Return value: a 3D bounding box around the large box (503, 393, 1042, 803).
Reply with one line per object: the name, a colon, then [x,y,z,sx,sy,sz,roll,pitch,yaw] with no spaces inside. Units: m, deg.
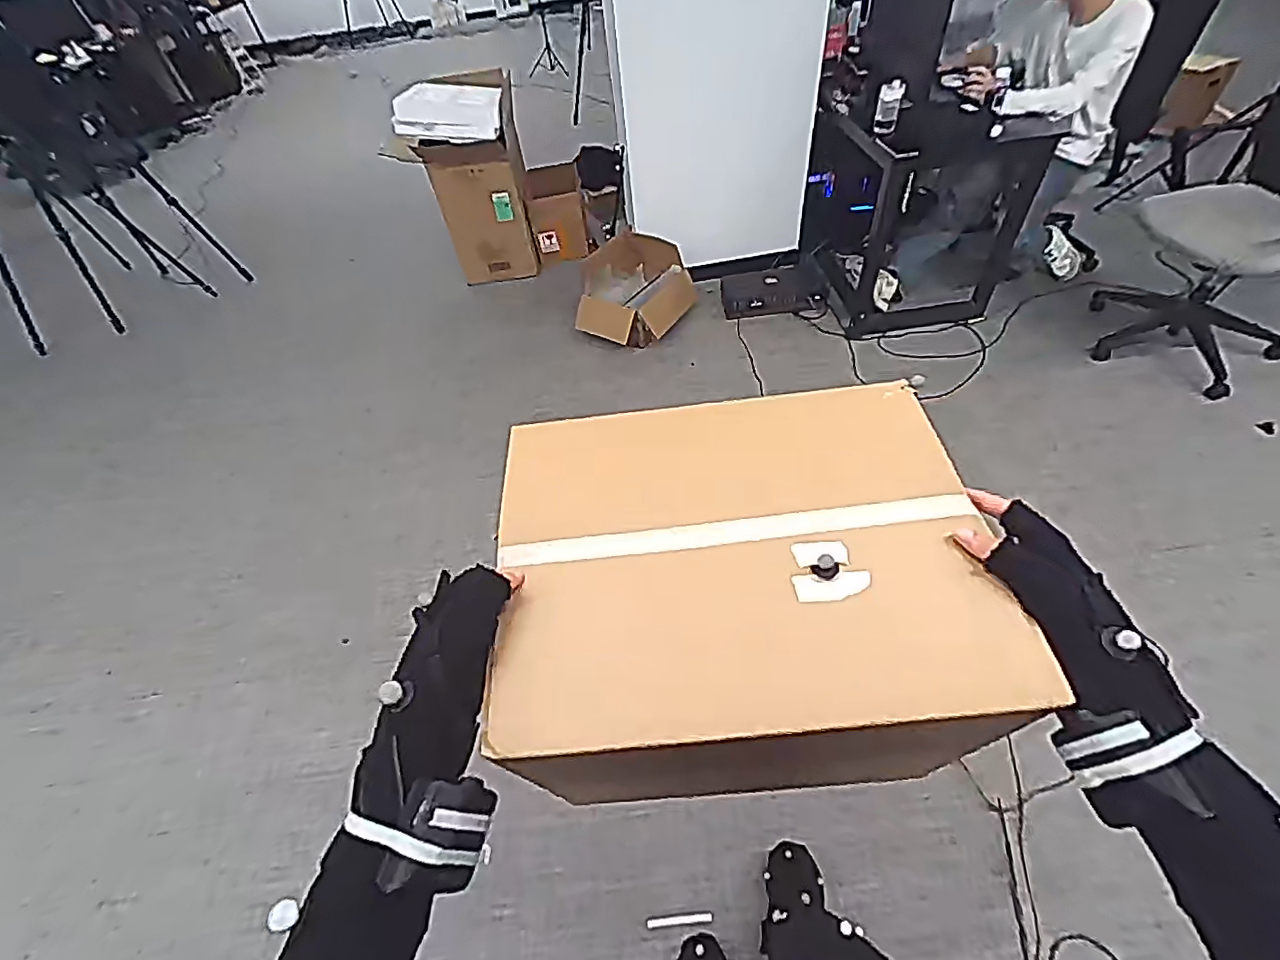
large box: [0.095,0.142,0.597,0.408,0.320,0.320,-6,53,2]
